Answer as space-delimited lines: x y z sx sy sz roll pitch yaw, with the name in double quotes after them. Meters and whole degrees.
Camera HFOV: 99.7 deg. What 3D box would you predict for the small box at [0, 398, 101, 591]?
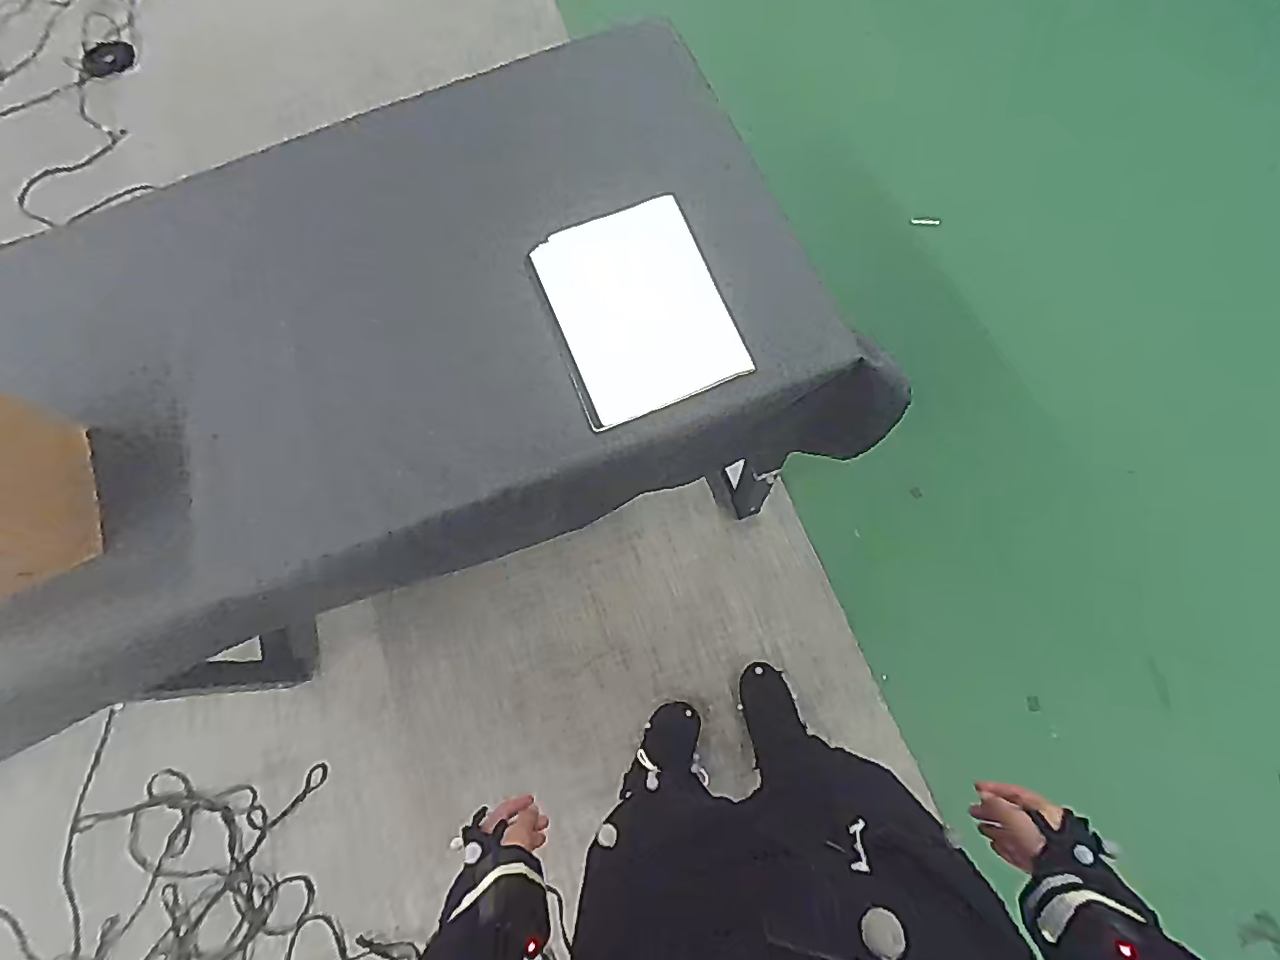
-0.704 0.015 0.545 0.168 0.176 0.179 -25 70 -5 "small box"
